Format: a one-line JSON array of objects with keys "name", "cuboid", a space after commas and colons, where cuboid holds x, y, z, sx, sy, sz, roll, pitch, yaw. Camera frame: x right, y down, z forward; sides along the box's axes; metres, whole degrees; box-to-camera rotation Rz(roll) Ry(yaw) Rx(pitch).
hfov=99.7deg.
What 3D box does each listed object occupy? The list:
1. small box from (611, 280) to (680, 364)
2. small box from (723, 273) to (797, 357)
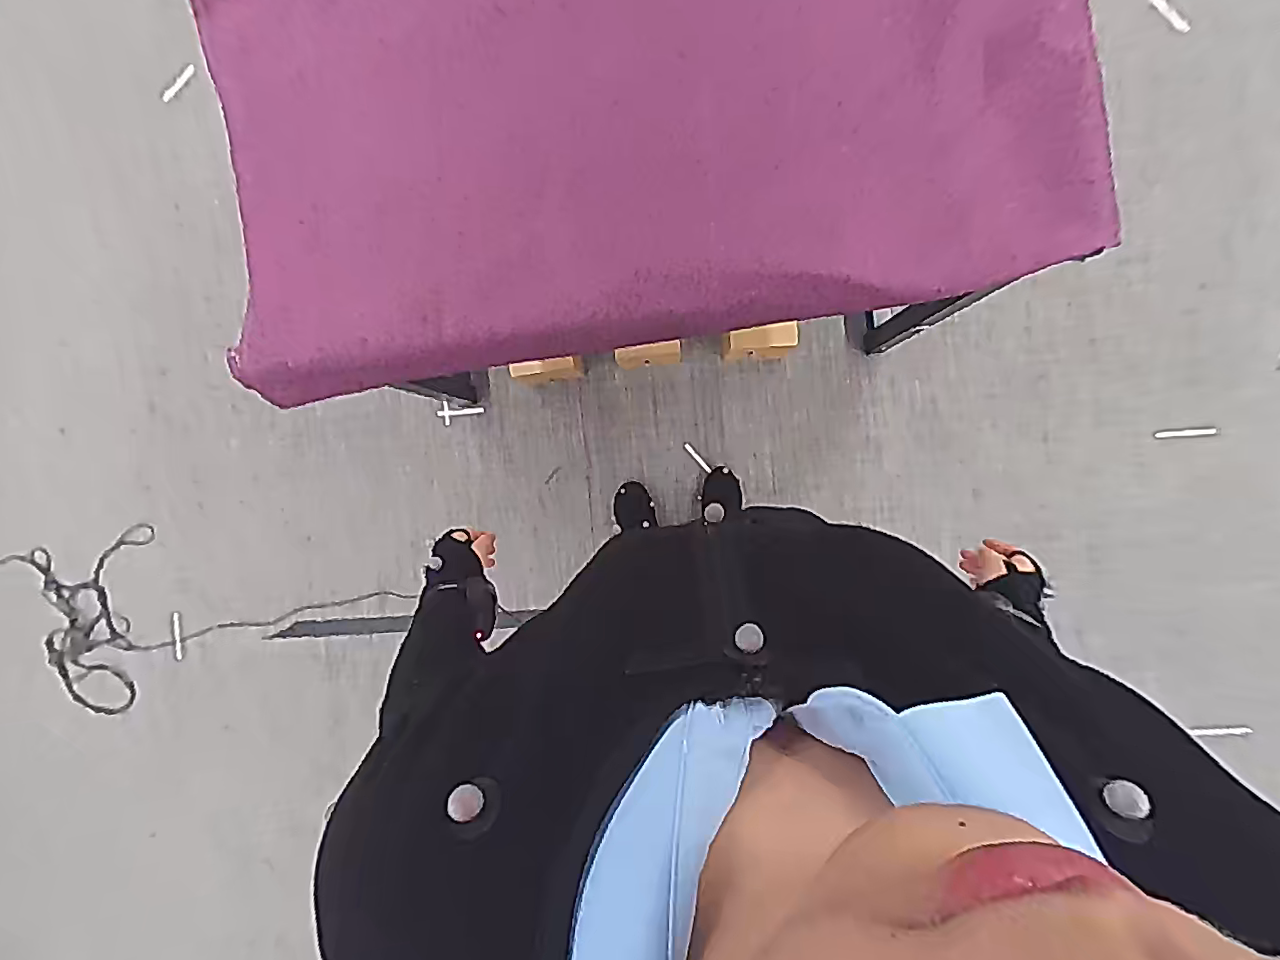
[{"name": "small box", "cuboid": [0.019, -0.406, 1.420, 0.168, 0.176, 0.179, -4, 91, 3]}, {"name": "small box", "cuboid": [0.307, -0.421, 1.405, 0.168, 0.176, 0.179, -2, 91, 4]}]
